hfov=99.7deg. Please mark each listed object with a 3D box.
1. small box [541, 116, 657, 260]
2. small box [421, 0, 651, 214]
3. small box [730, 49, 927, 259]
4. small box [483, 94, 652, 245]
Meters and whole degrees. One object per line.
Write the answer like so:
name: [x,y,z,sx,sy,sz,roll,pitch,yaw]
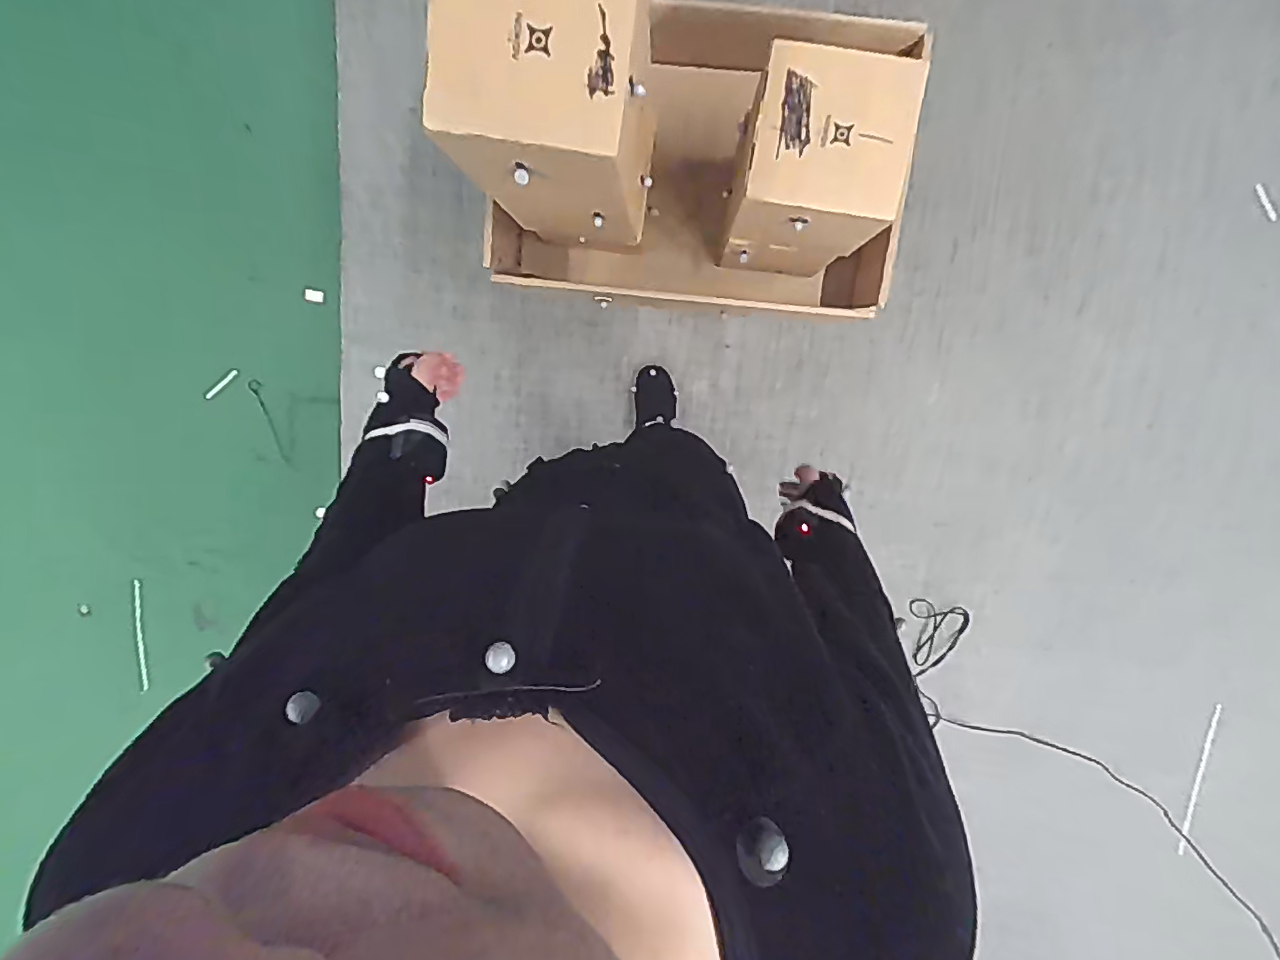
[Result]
small box: [-0.071,-0.459,0.854,0.179,0.176,0.168,8,101,1]
small box: [-0.090,-0.383,0.536,0.179,0.176,0.168,10,101,2]
small box: [0.218,-0.391,0.680,0.179,0.176,0.168,10,100,1]
small box: [-0.084,-0.416,0.697,0.179,0.176,0.168,9,101,1]
